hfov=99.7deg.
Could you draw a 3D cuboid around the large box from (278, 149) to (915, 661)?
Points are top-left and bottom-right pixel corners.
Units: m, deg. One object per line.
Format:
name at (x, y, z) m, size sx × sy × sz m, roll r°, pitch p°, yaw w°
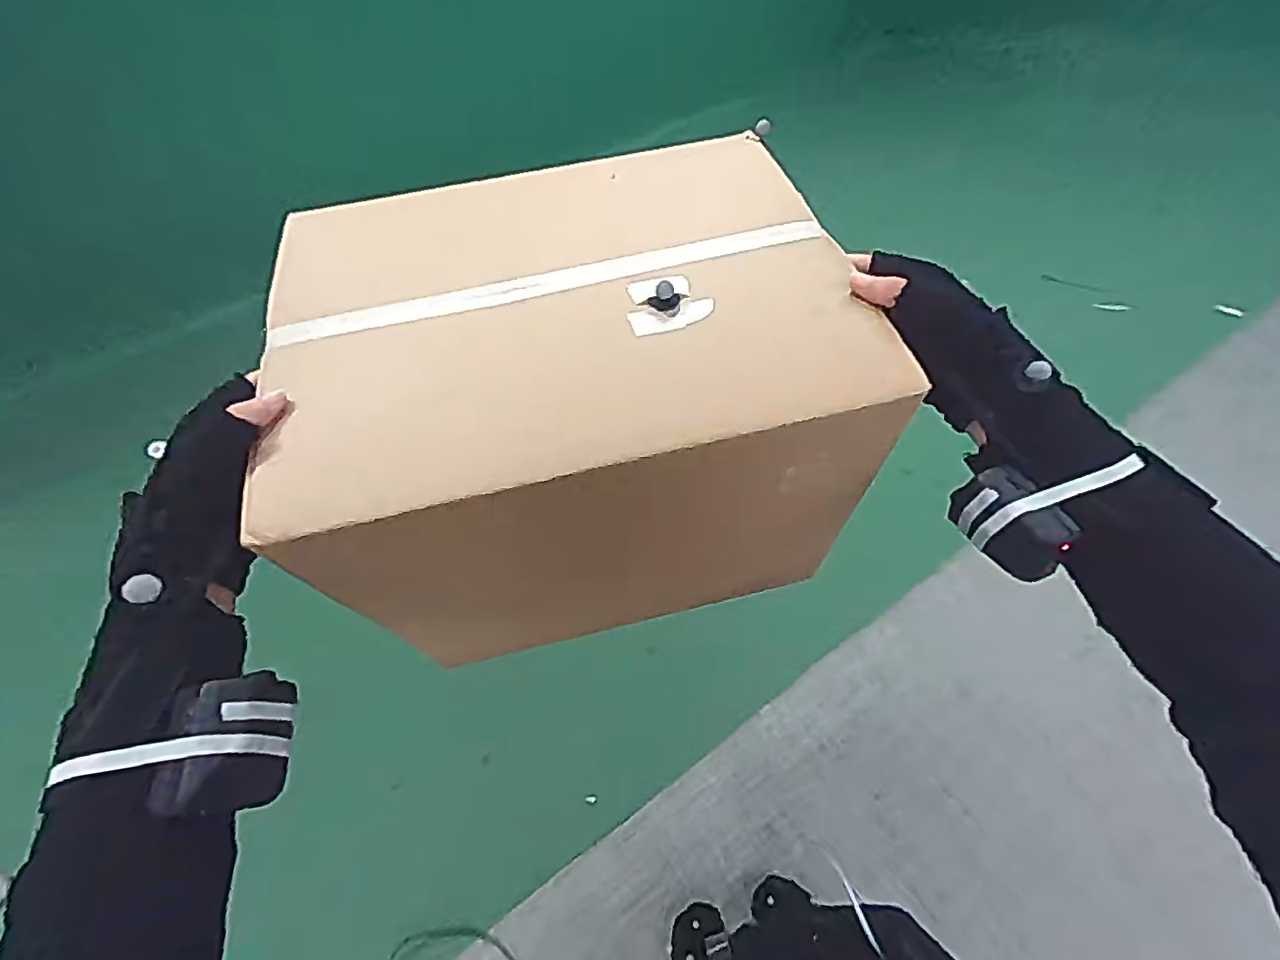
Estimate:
large box at (-0.045, -0.055, 0.526) m, size 0.408 × 0.320 × 0.320 m, roll -13°, pitch 60°, yaw -5°
